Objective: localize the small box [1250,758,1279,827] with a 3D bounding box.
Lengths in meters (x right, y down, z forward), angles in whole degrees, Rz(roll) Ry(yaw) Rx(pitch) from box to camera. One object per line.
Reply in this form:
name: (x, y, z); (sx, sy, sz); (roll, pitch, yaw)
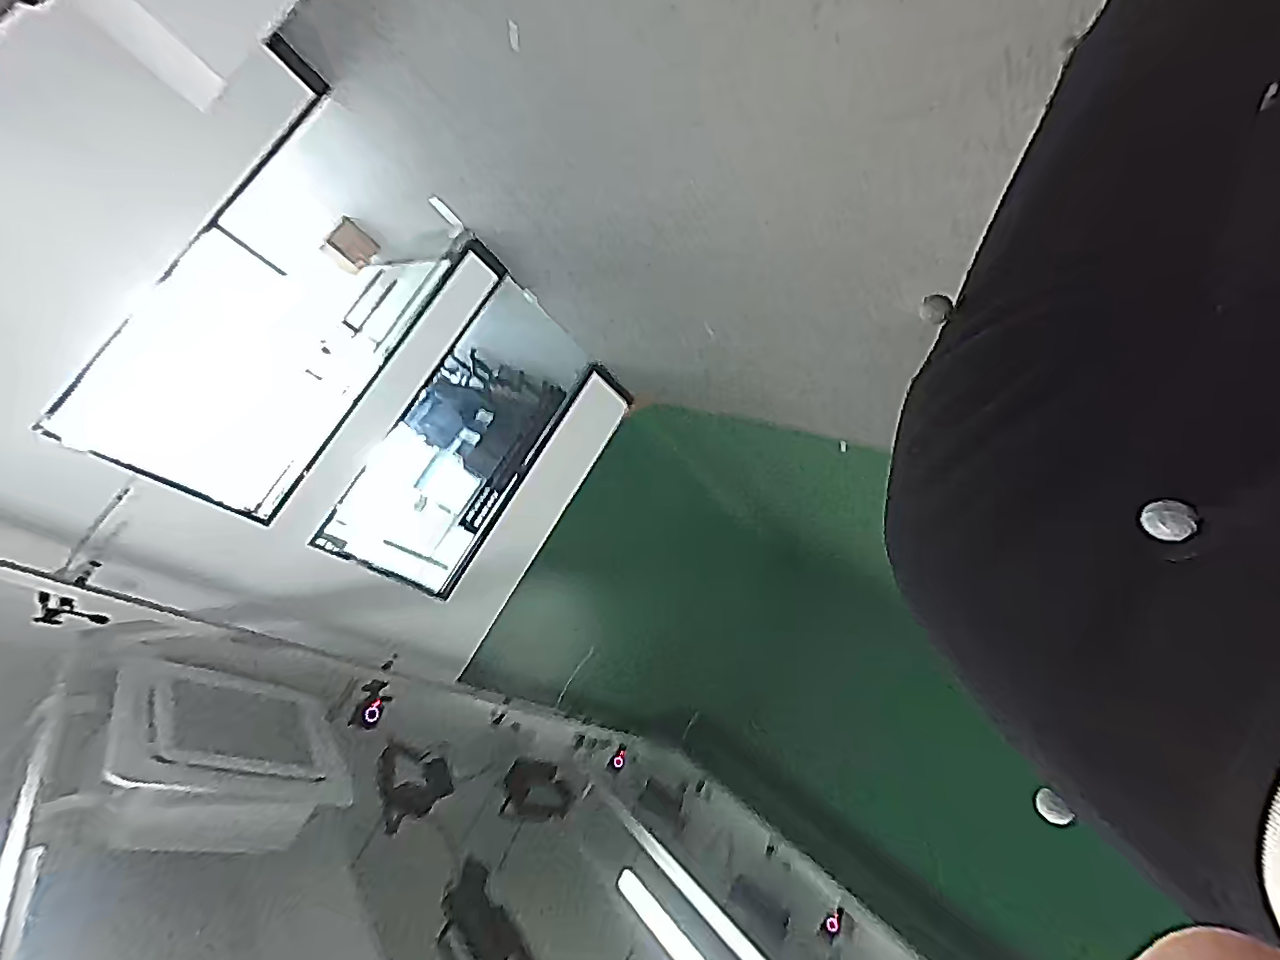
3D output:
small box: (1.794, 0.861, 1.433); (0.179, 0.176, 0.168); (23, 168, 42)
